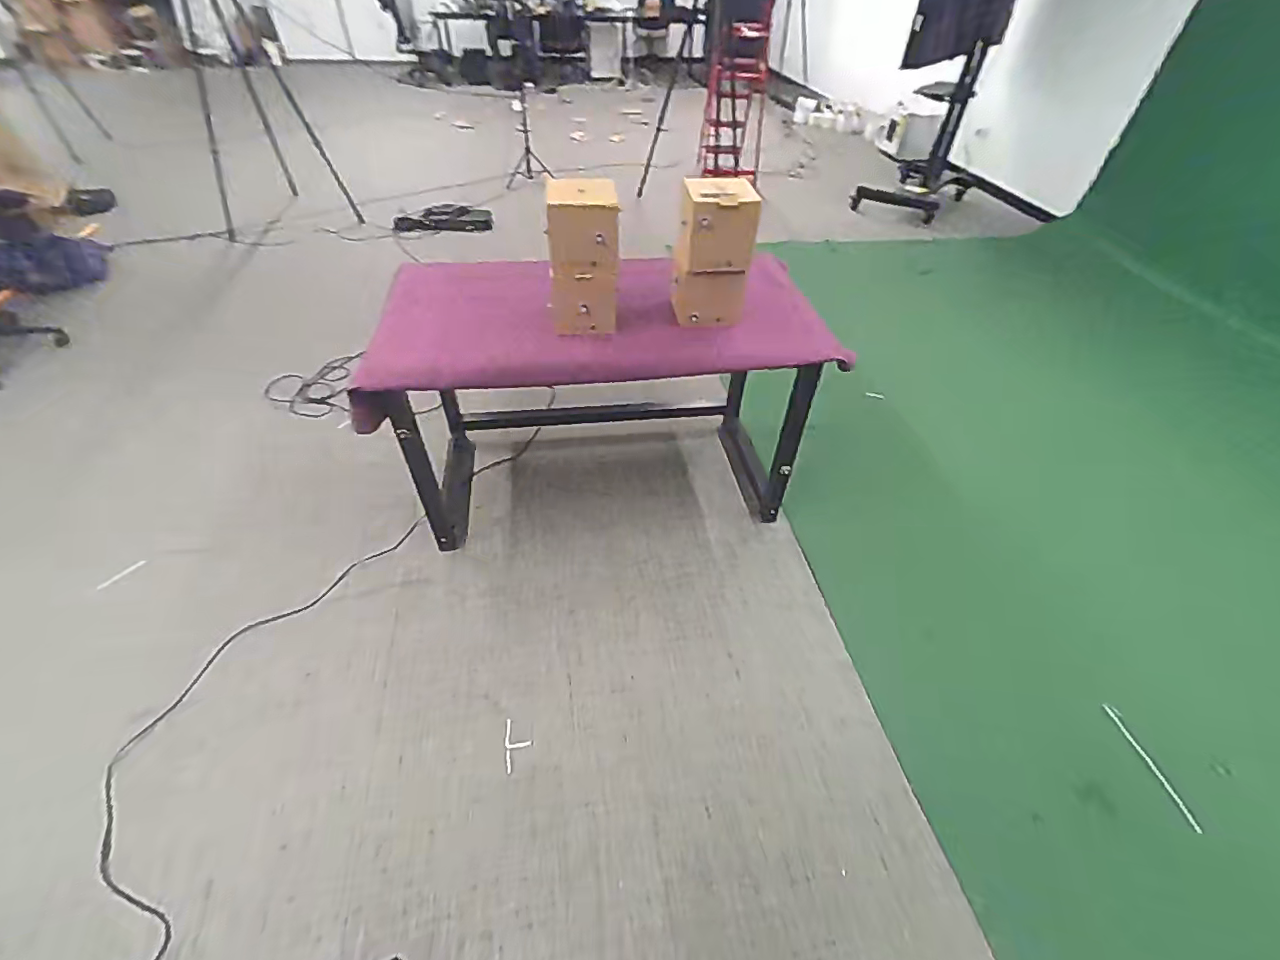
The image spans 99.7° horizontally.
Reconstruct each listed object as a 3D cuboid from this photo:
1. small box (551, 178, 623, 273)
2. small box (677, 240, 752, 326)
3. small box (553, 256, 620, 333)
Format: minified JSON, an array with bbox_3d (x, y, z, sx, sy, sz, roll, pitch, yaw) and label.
[{"bbox_3d":[-0.127,-0.623,1.327,0.168,0.176,0.179,-2,45,-5],"label":"small box"},{"bbox_3d":[0.199,-0.539,1.486,0.168,0.176,0.179,0,46,-5],"label":"small box"},{"bbox_3d":[-0.139,-0.507,1.441,0.168,0.176,0.179,-2,46,-5],"label":"small box"}]
